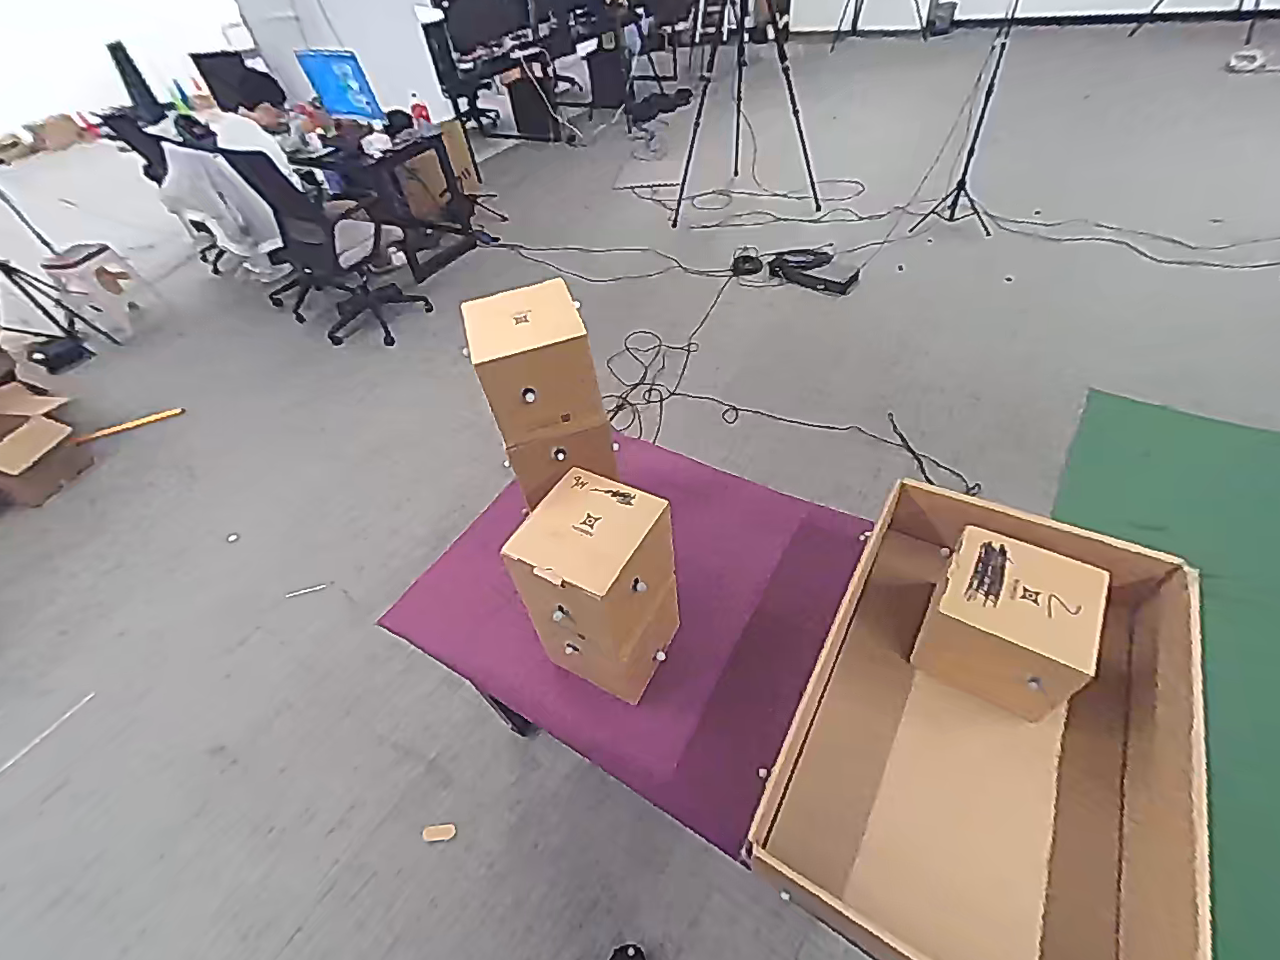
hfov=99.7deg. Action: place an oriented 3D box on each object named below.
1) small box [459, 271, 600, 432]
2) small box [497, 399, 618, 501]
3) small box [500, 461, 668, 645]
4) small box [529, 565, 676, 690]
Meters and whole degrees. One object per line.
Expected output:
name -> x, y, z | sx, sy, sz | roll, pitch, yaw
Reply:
small box -> -0.170, -0.195, 0.855 | 0.168, 0.176, 0.179 | -18, 49, -7
small box -> -0.150, -0.086, 0.973 | 0.179, 0.176, 0.168 | -16, 50, -7
small box -> -0.066, 0.107, 0.787 | 0.168, 0.176, 0.179 | 20, 54, 23
small box -> -0.053, 0.221, 0.904 | 0.179, 0.176, 0.168 | 19, 53, 23
